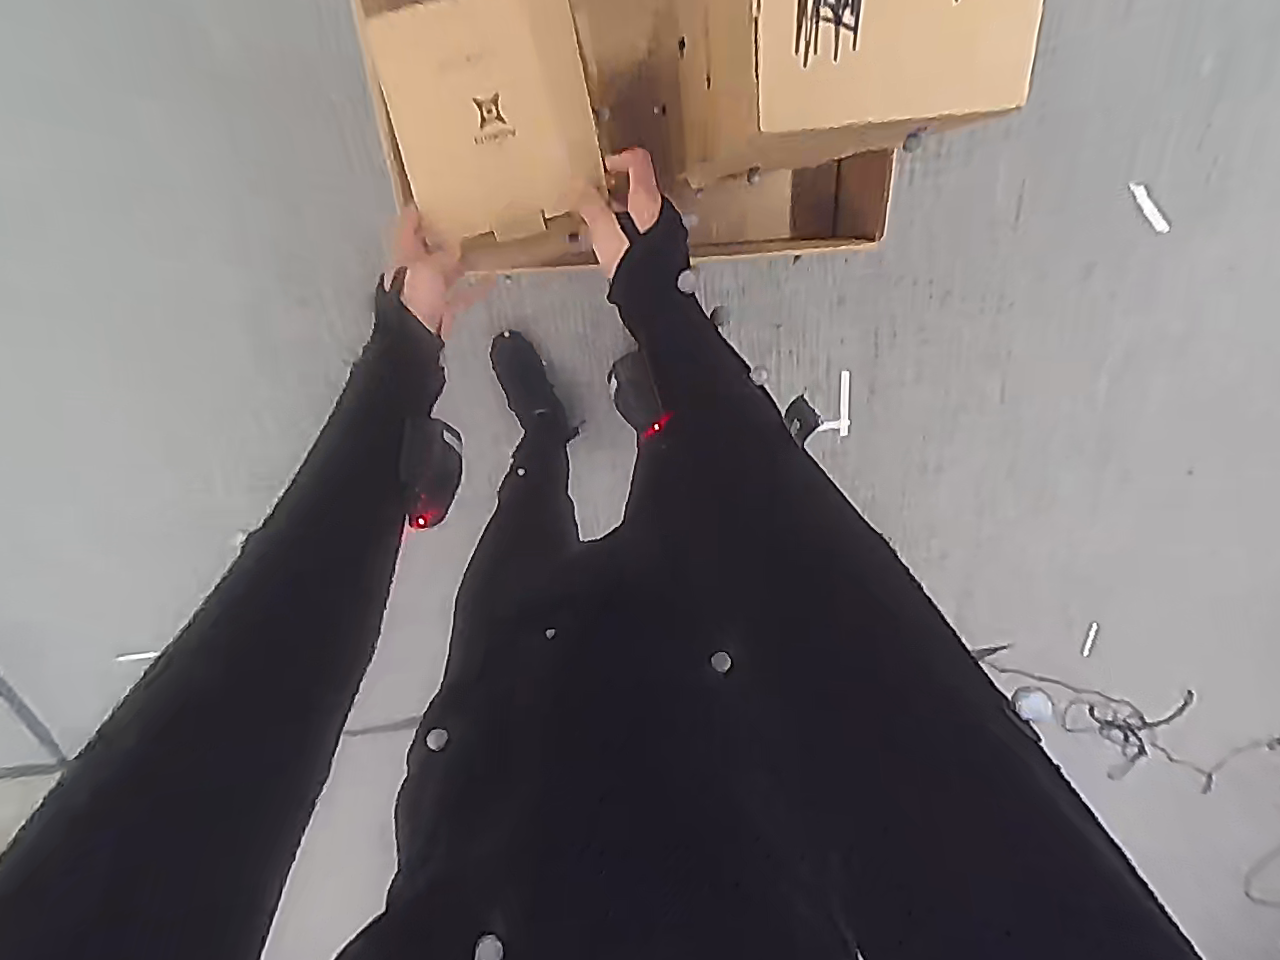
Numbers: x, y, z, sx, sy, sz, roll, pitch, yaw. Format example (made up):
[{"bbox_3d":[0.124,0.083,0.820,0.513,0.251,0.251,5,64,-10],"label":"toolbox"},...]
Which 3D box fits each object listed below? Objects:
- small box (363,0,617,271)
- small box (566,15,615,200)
[{"bbox_3d":[-0.122,-0.311,0.522,0.168,0.176,0.179,-12,104,5],"label":"small box"},{"bbox_3d":[-0.129,-0.429,0.674,0.168,0.176,0.179,-10,114,1],"label":"small box"}]
